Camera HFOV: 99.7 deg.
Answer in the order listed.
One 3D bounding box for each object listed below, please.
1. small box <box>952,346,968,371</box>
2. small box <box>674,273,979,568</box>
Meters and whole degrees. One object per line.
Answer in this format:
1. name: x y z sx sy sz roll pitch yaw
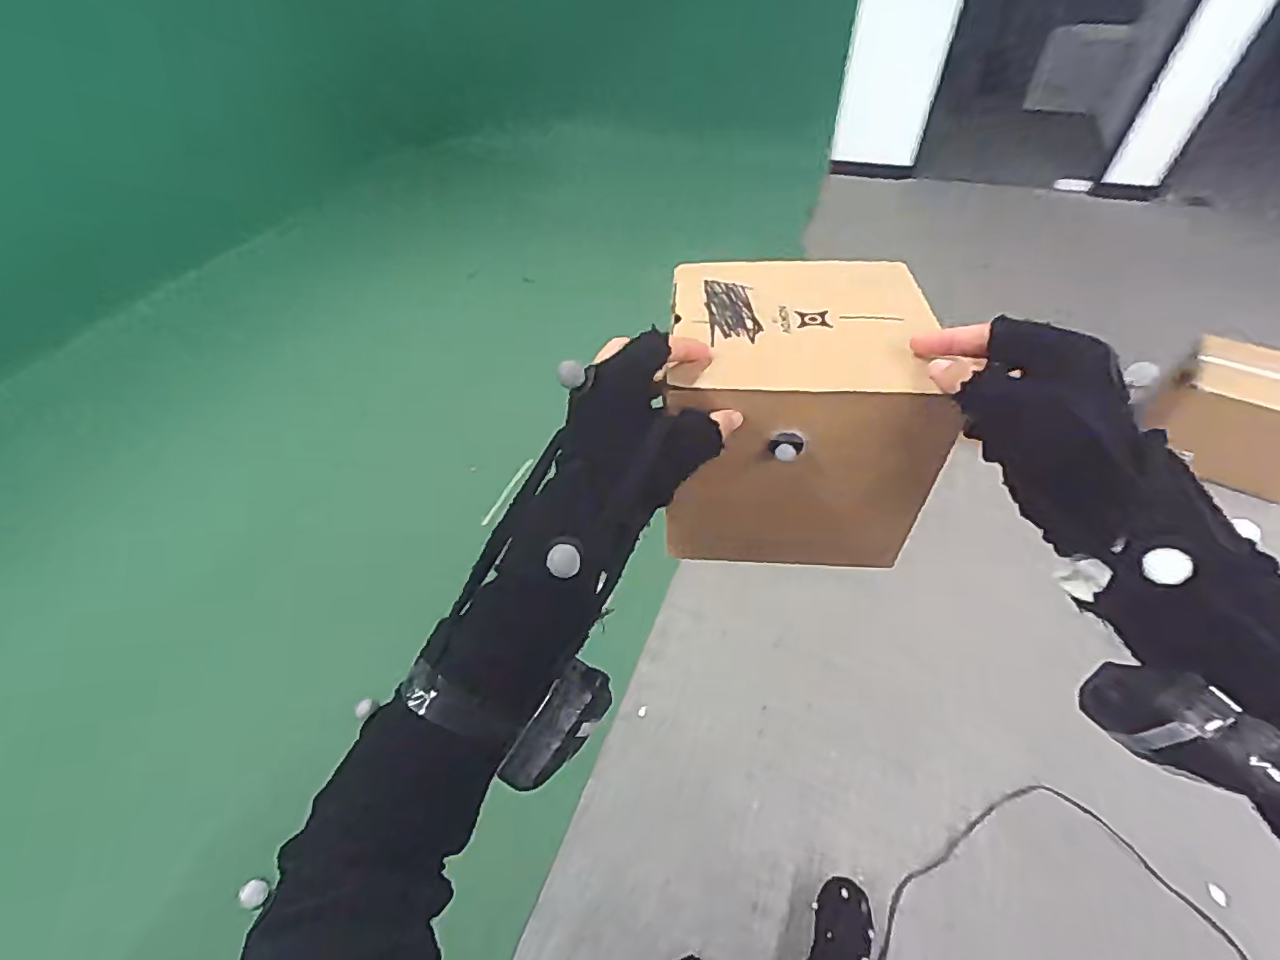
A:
1. small box: 1.070 -0.381 1.976 0.179 0.176 0.168 17 54 15
2. small box: 0.119 -0.046 0.424 0.179 0.176 0.168 3 46 6
